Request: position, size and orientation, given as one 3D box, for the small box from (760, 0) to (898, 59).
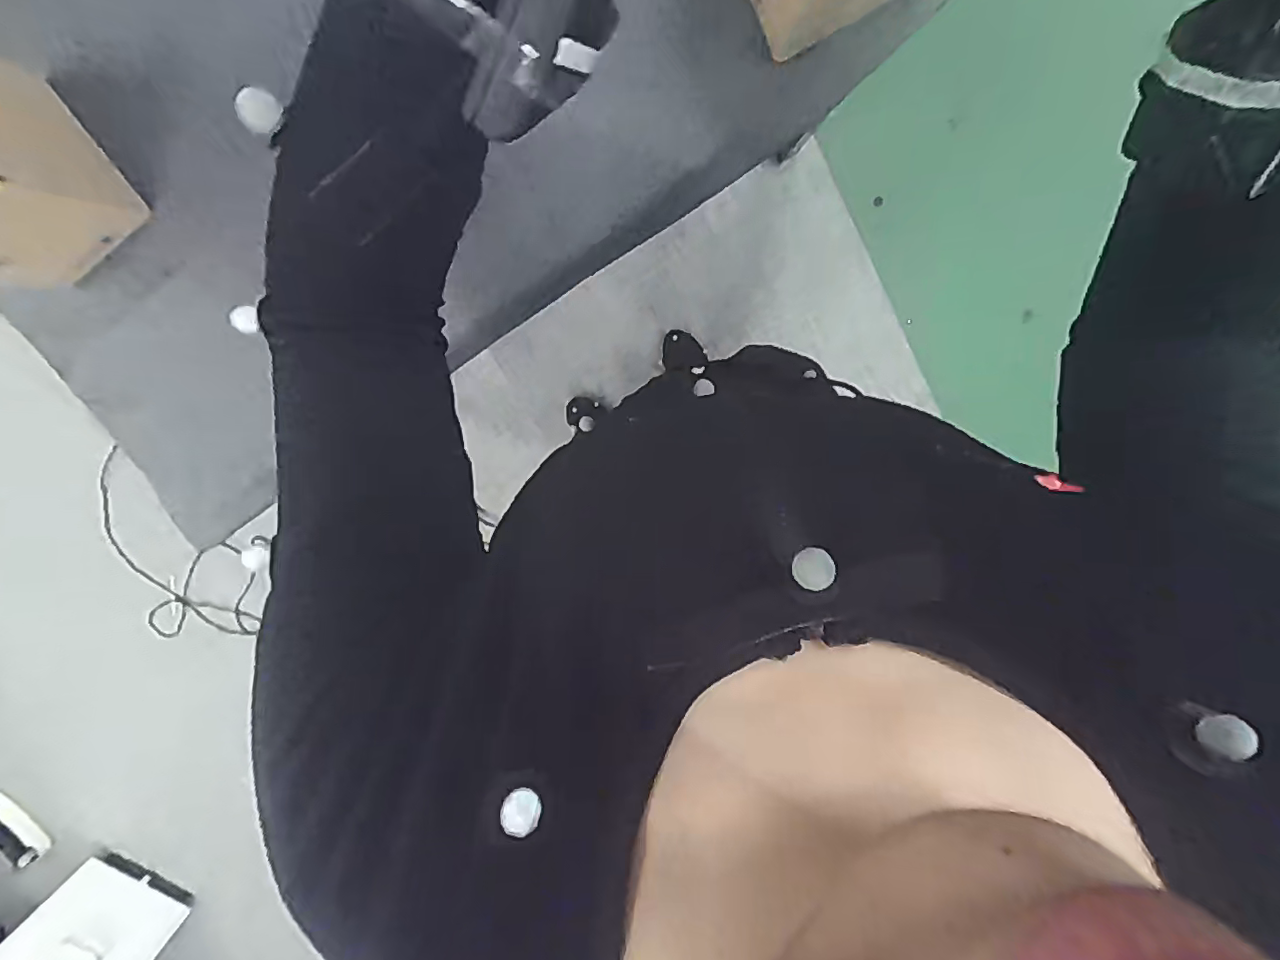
[{"bbox_3d":[0.190,-0.542,0.492,0.179,0.176,0.168,-25,101,10],"label":"small box"}]
